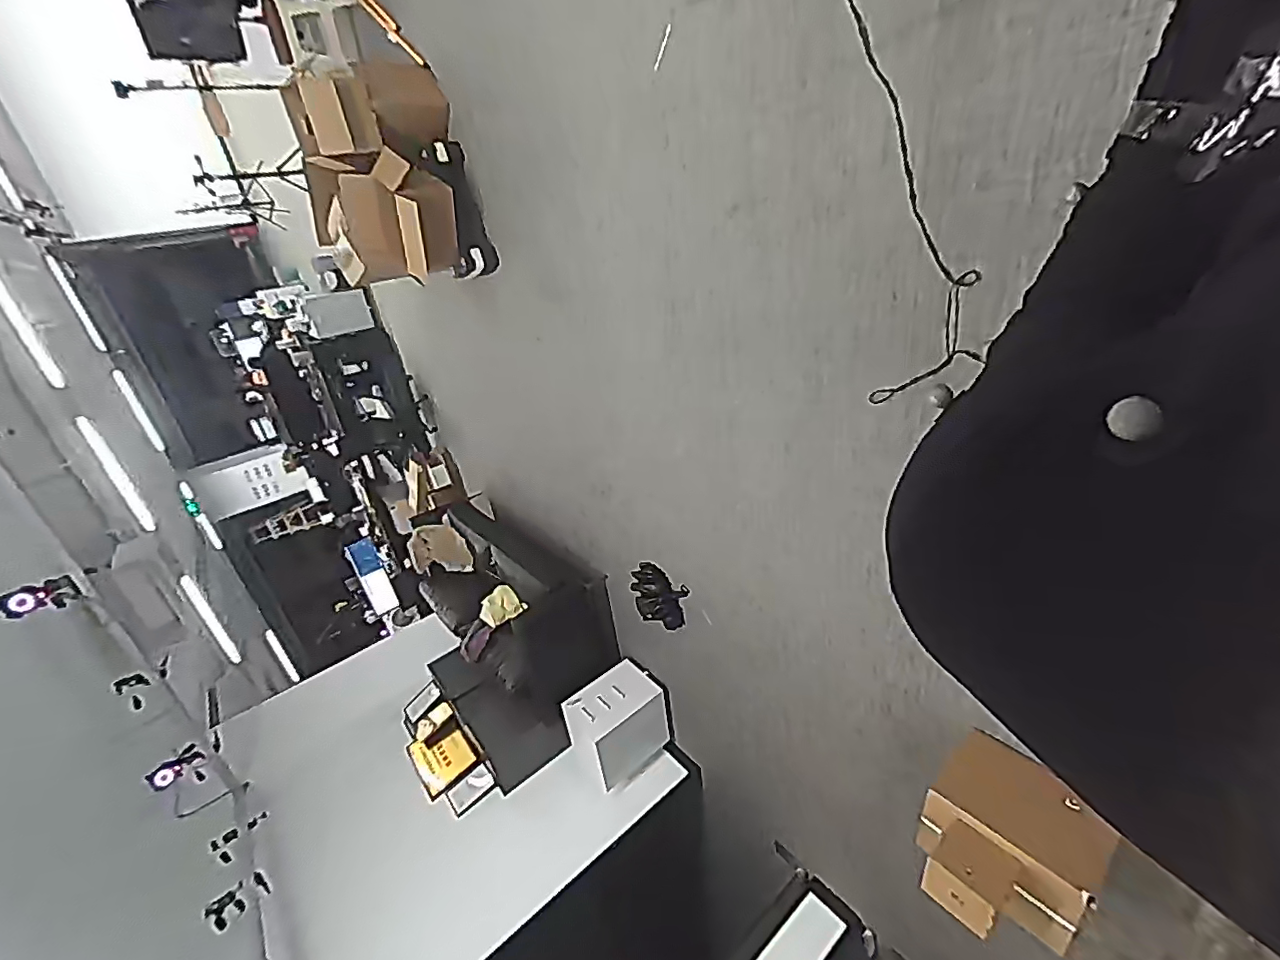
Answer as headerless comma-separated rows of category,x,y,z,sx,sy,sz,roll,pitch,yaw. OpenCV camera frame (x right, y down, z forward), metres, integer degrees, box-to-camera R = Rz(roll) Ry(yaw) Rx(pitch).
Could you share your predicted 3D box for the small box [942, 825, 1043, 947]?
small box,0.977,1.115,1.499,0.179,0.176,0.168,26,131,49
